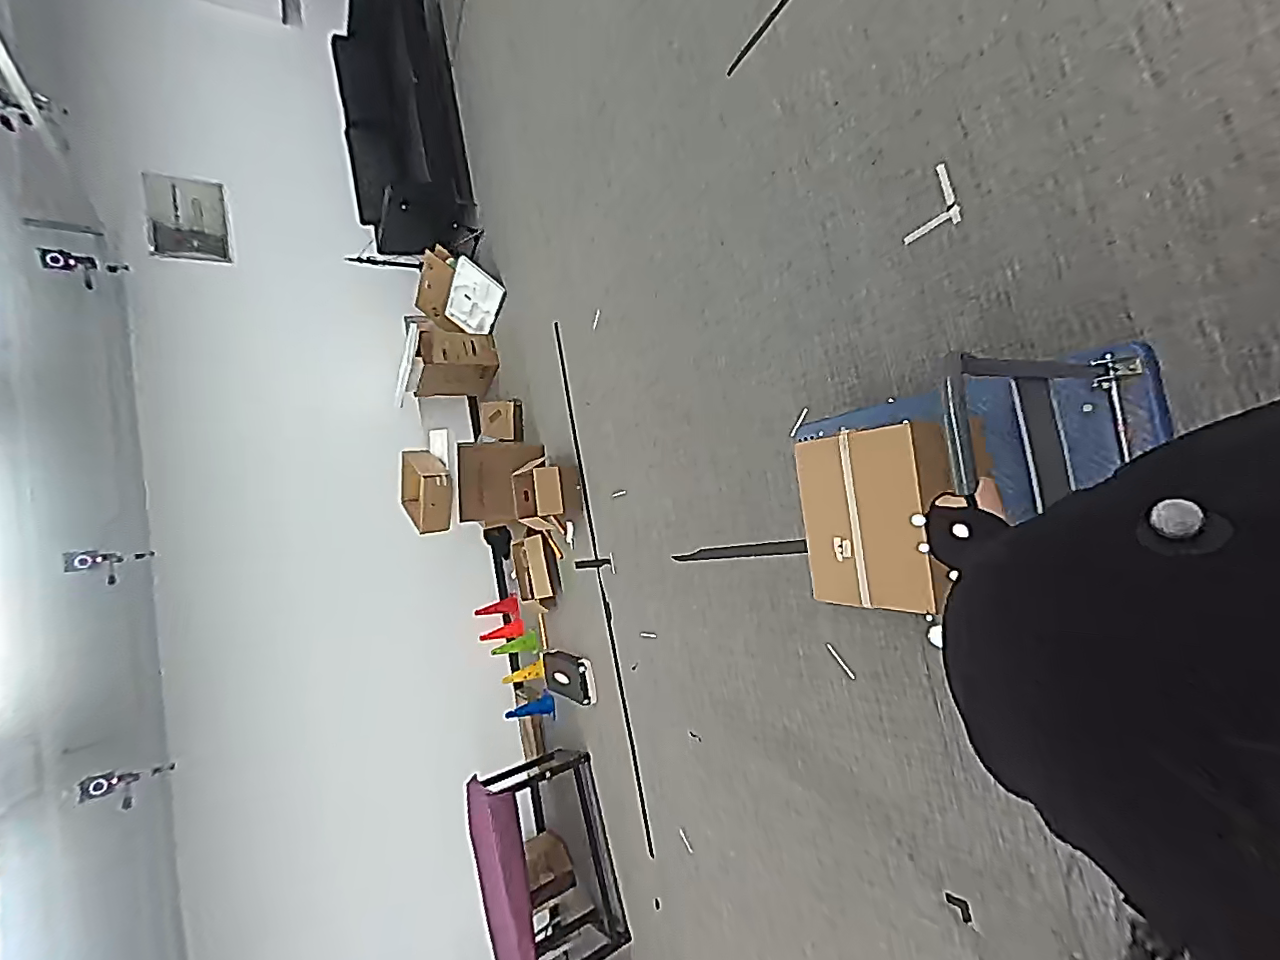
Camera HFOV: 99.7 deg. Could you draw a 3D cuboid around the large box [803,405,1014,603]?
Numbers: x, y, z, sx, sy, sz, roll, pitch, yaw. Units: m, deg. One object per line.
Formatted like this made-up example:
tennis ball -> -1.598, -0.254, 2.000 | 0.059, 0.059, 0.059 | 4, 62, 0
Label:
large box -> 0.646, 0.051, 1.312 | 0.320, 0.320, 0.408 | -9, 89, 59
